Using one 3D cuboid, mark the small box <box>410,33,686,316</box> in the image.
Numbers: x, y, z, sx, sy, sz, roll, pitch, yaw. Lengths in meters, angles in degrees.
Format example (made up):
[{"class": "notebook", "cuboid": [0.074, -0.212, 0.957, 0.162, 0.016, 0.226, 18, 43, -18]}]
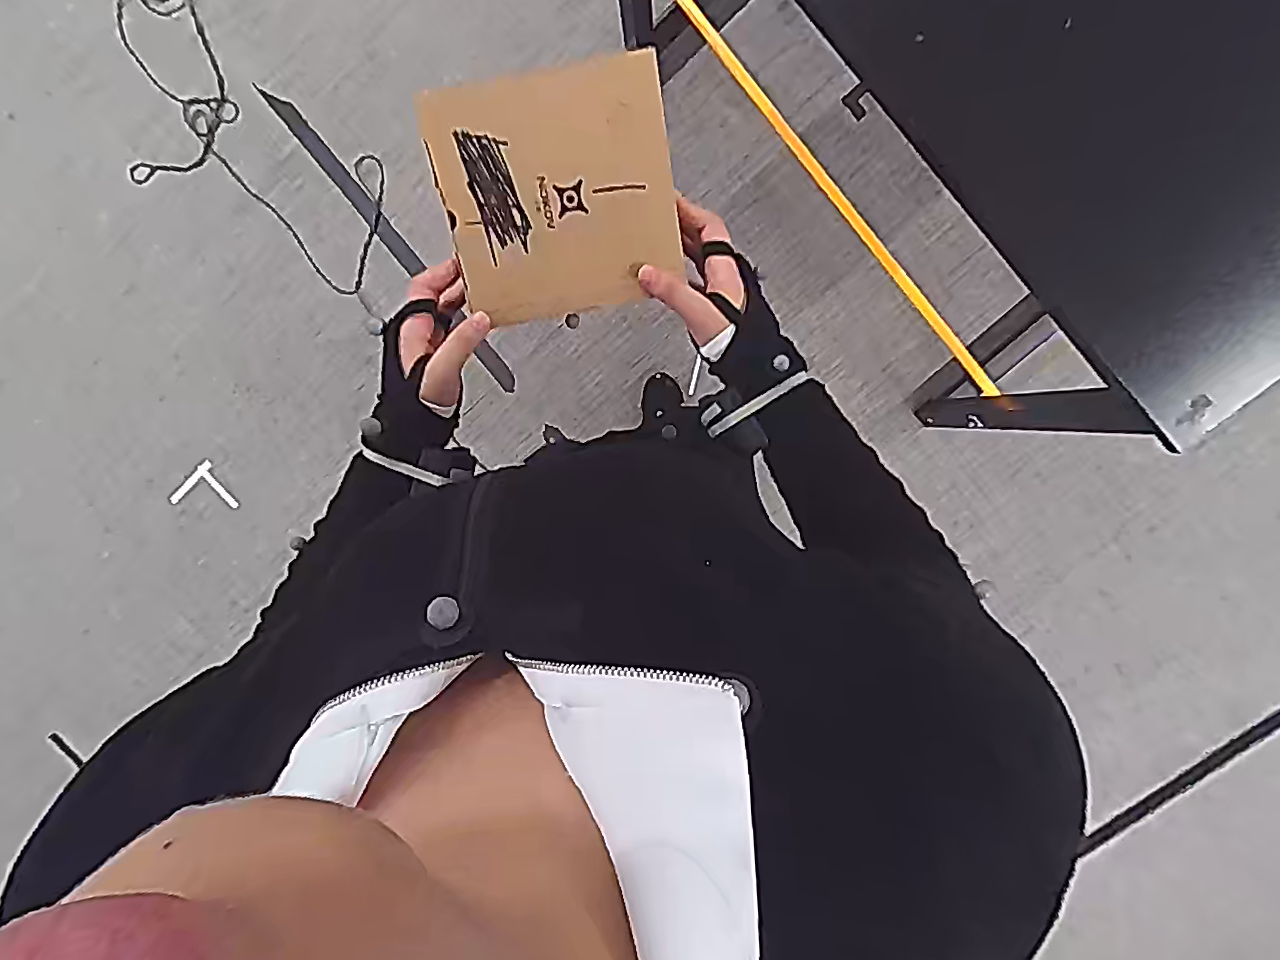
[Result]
[{"class": "small box", "cuboid": [-0.065, -0.242, 0.469, 0.179, 0.176, 0.168, -10, 111, 0]}]
